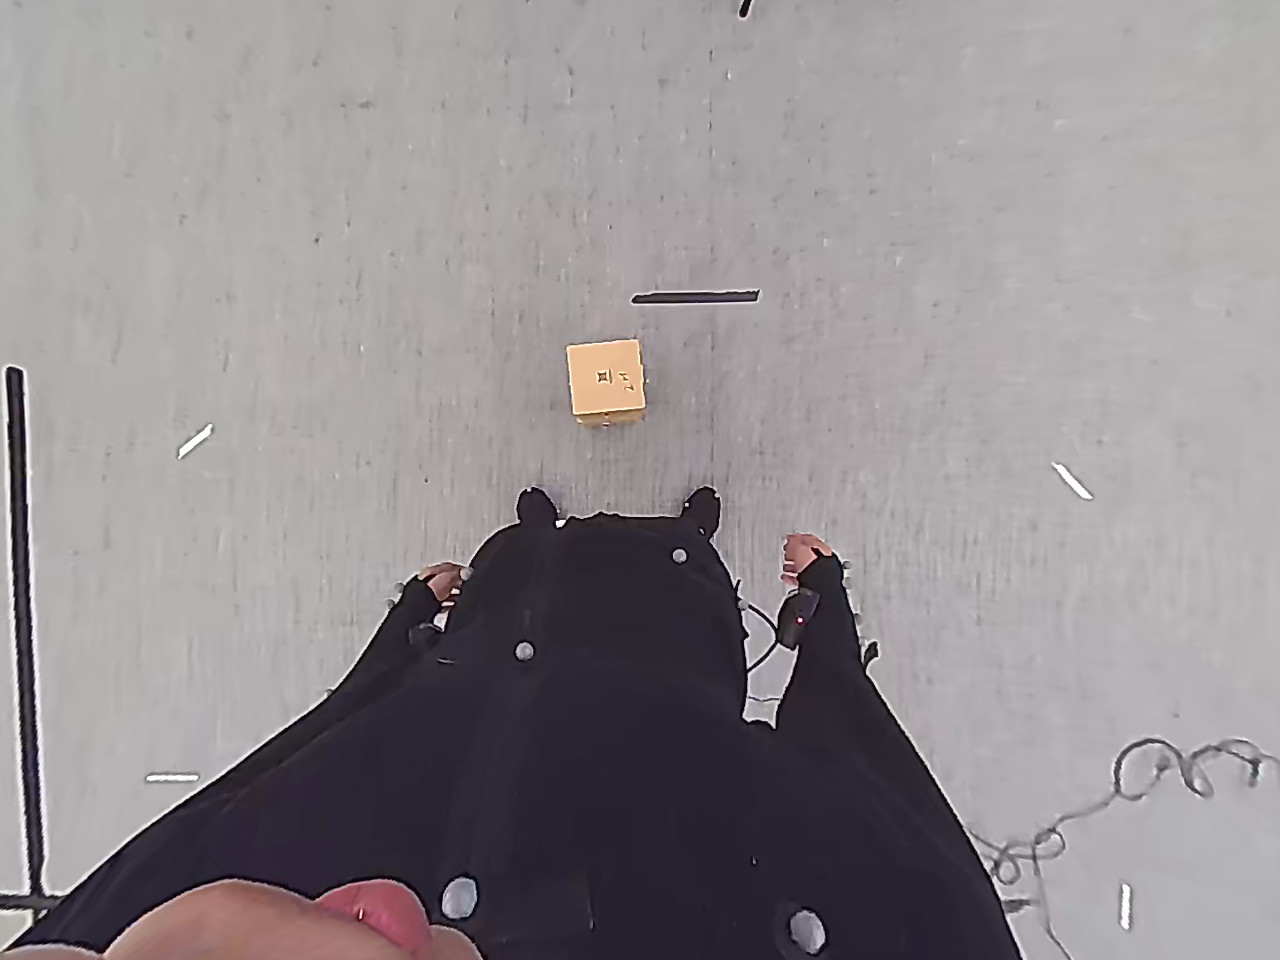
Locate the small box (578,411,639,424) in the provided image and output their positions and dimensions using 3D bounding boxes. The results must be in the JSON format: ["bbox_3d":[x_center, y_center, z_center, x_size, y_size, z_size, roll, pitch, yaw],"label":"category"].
[{"bbox_3d":[-0.089,-0.254,1.517,0.168,0.176,0.179,-4,93,1],"label":"small box"}]

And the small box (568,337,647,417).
[{"bbox_3d":[-0.076,-0.251,1.353,0.179,0.176,0.168,-5,92,1],"label":"small box"}]
